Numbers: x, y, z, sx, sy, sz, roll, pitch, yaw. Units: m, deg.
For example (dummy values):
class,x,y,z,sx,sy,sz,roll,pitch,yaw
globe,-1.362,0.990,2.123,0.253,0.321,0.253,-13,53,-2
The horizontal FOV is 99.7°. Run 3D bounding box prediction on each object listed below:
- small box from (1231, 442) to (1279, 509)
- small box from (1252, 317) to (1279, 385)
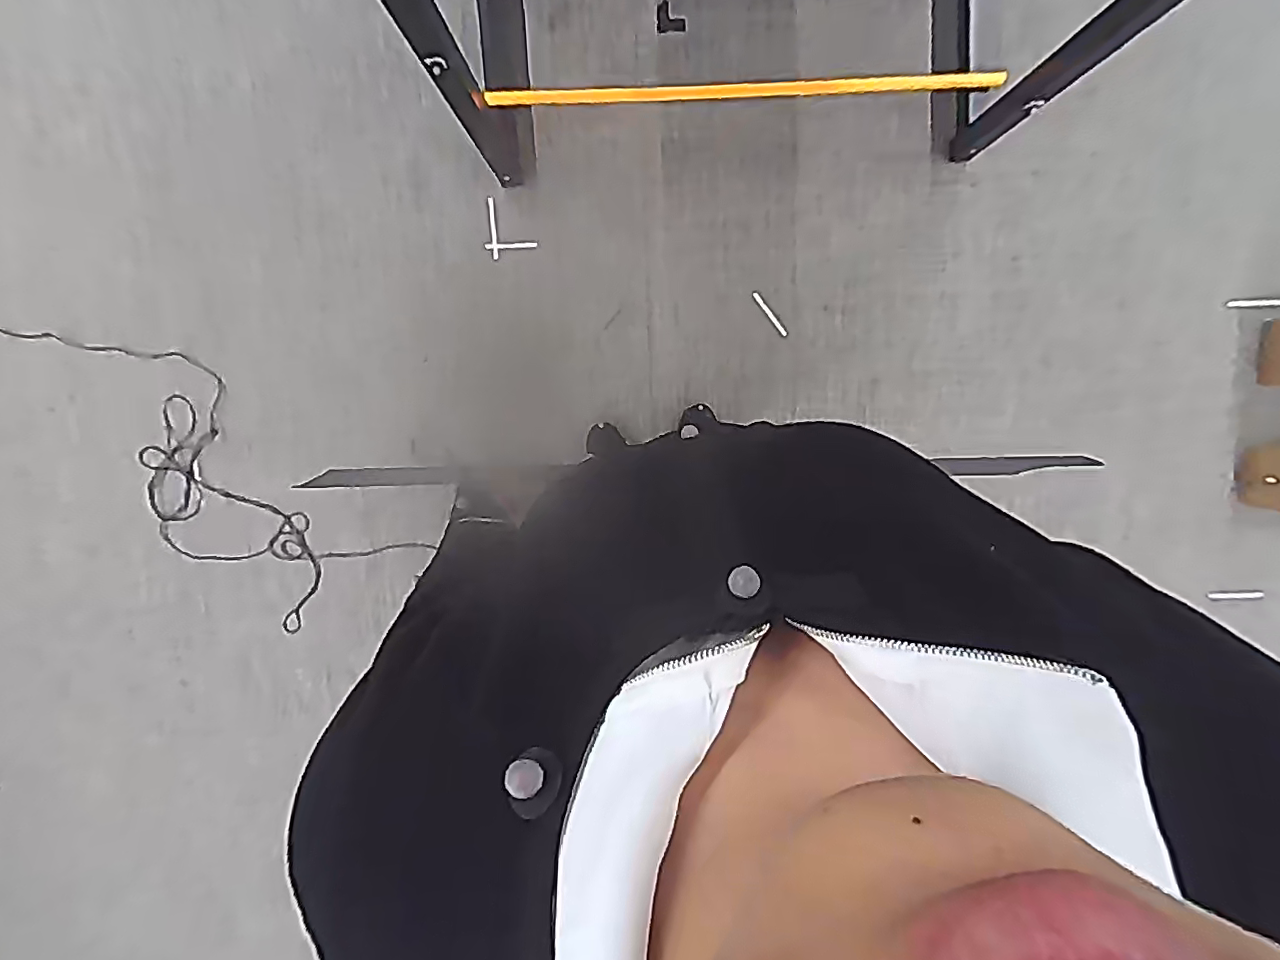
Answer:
class,x,y,z,sx,sy,sz,roll,pitch,yaw
small box,1.724,-0.009,1.414,0.179,0.176,0.168,-1,99,1
small box,1.718,-0.331,1.362,0.168,0.176,0.179,-4,98,0
